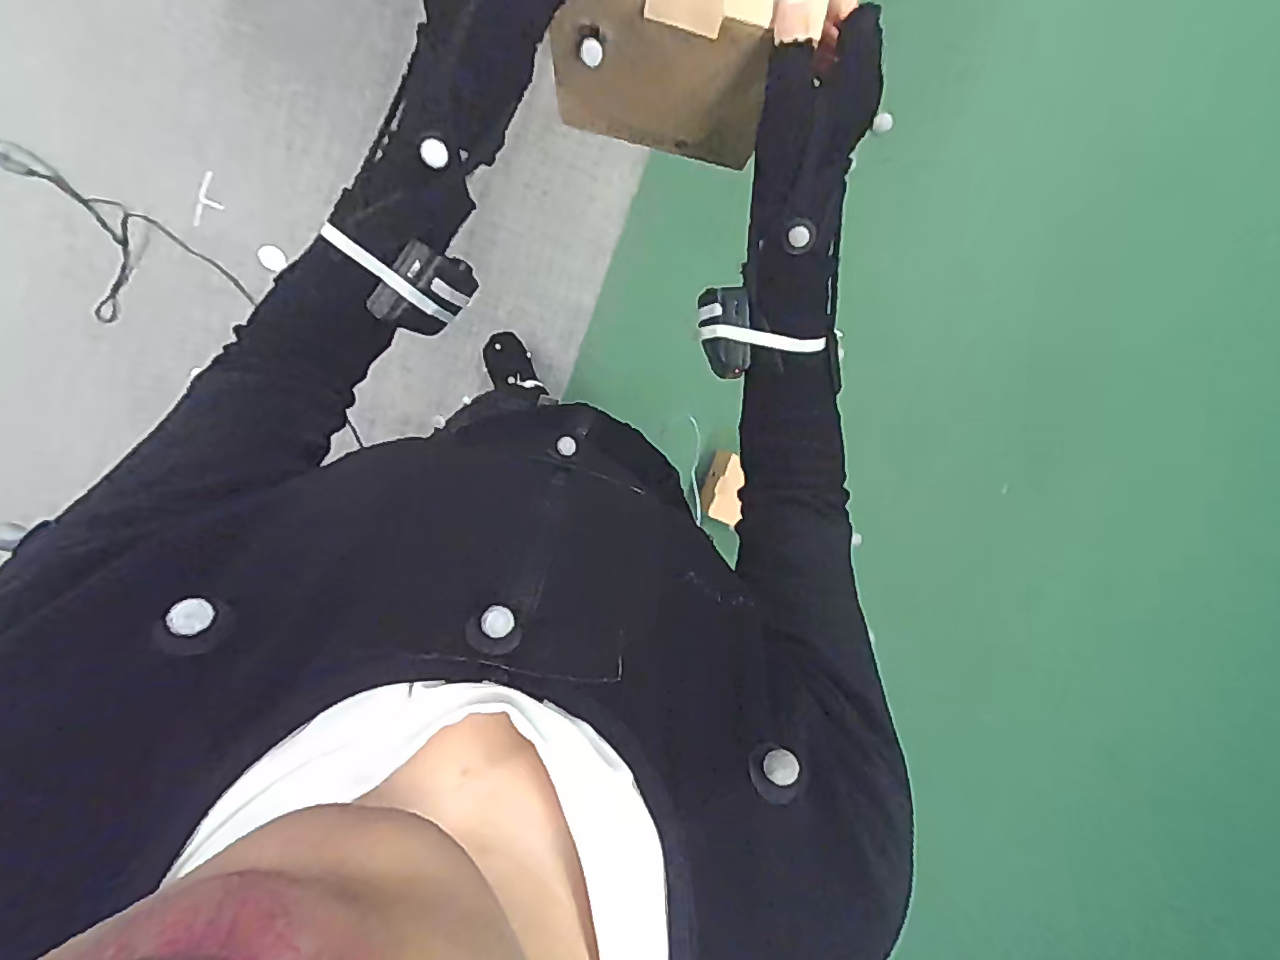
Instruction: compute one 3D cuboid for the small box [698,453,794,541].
[{"bbox_3d":[0.269,0.036,1.415,0.179,0.176,0.168,22,97,-4],"label":"small box"}]
